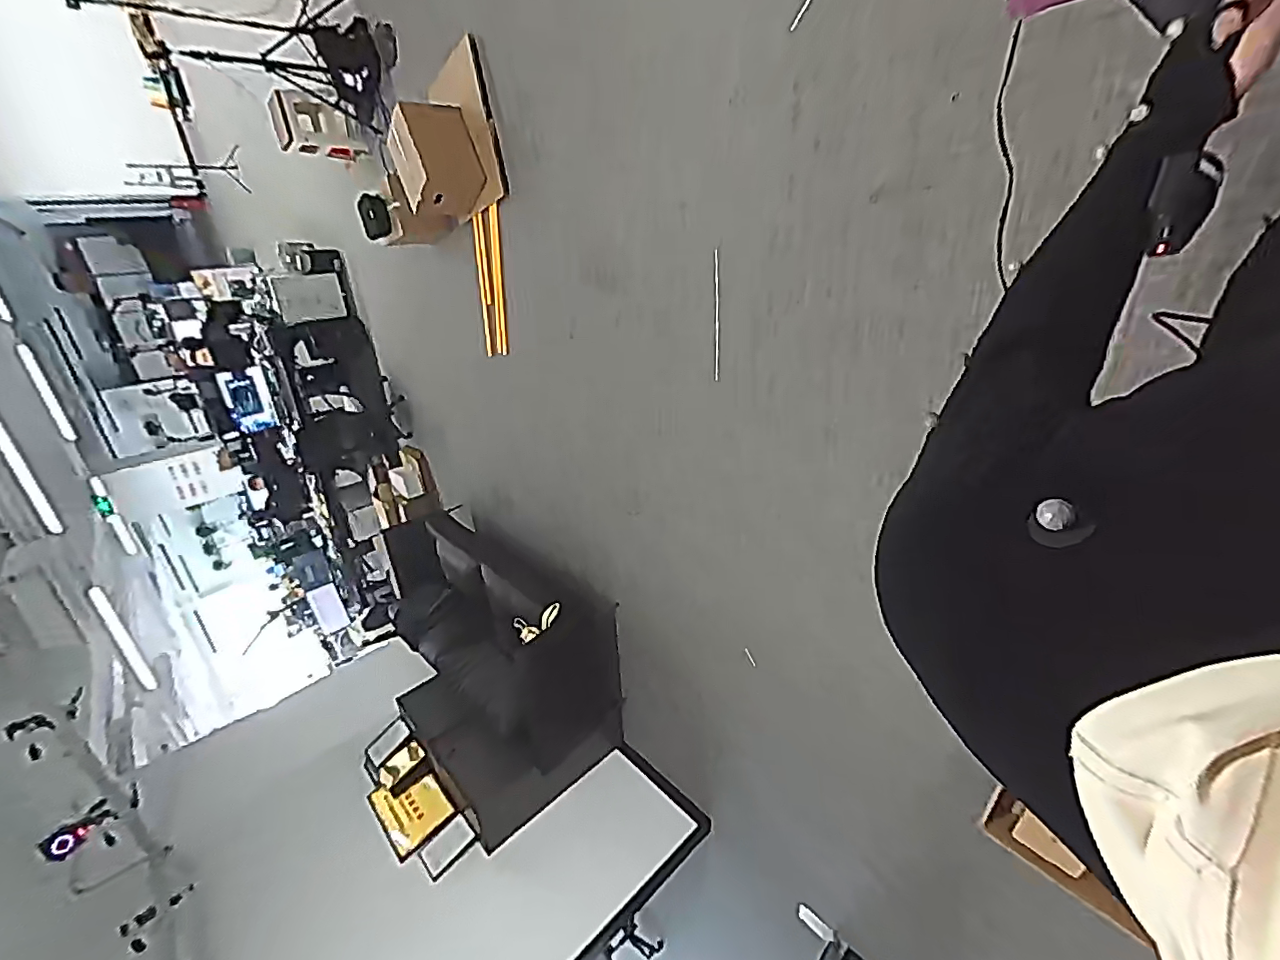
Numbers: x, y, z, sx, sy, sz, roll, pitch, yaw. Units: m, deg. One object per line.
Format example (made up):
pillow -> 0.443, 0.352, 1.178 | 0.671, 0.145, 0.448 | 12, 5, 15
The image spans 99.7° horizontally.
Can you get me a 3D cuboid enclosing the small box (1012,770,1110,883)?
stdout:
small box -> 1.212, 0.988, 1.555 | 0.168, 0.176, 0.179 | 26, 127, 39
